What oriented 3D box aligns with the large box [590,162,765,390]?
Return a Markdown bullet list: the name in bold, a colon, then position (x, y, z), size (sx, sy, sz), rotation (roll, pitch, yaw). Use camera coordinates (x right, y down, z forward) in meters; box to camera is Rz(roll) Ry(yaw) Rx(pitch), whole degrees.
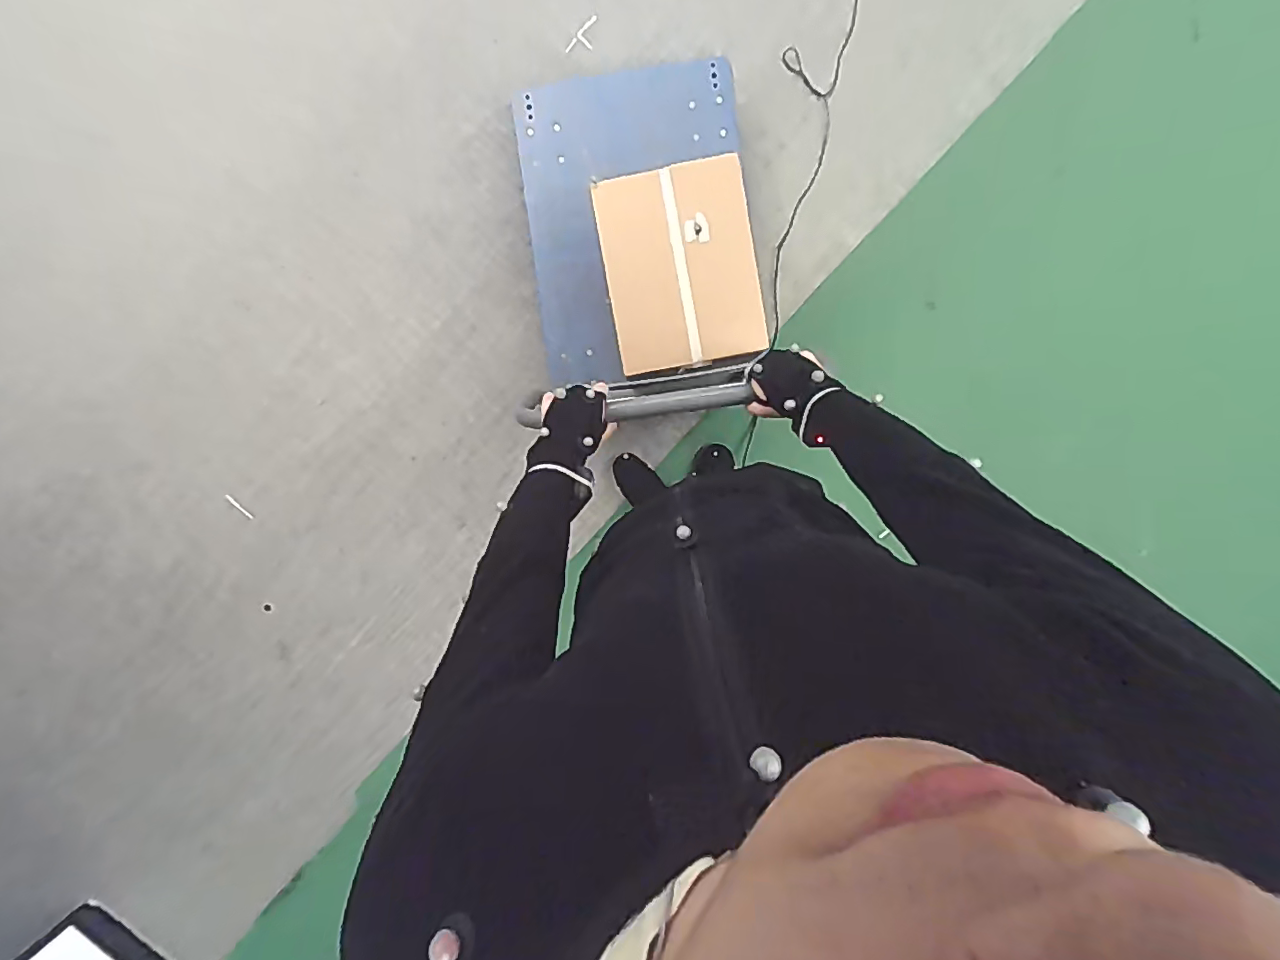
- **large box**: position (0.088, -0.454, 1.297), size (0.320, 0.320, 0.408), rotation (-10, 93, 2)
